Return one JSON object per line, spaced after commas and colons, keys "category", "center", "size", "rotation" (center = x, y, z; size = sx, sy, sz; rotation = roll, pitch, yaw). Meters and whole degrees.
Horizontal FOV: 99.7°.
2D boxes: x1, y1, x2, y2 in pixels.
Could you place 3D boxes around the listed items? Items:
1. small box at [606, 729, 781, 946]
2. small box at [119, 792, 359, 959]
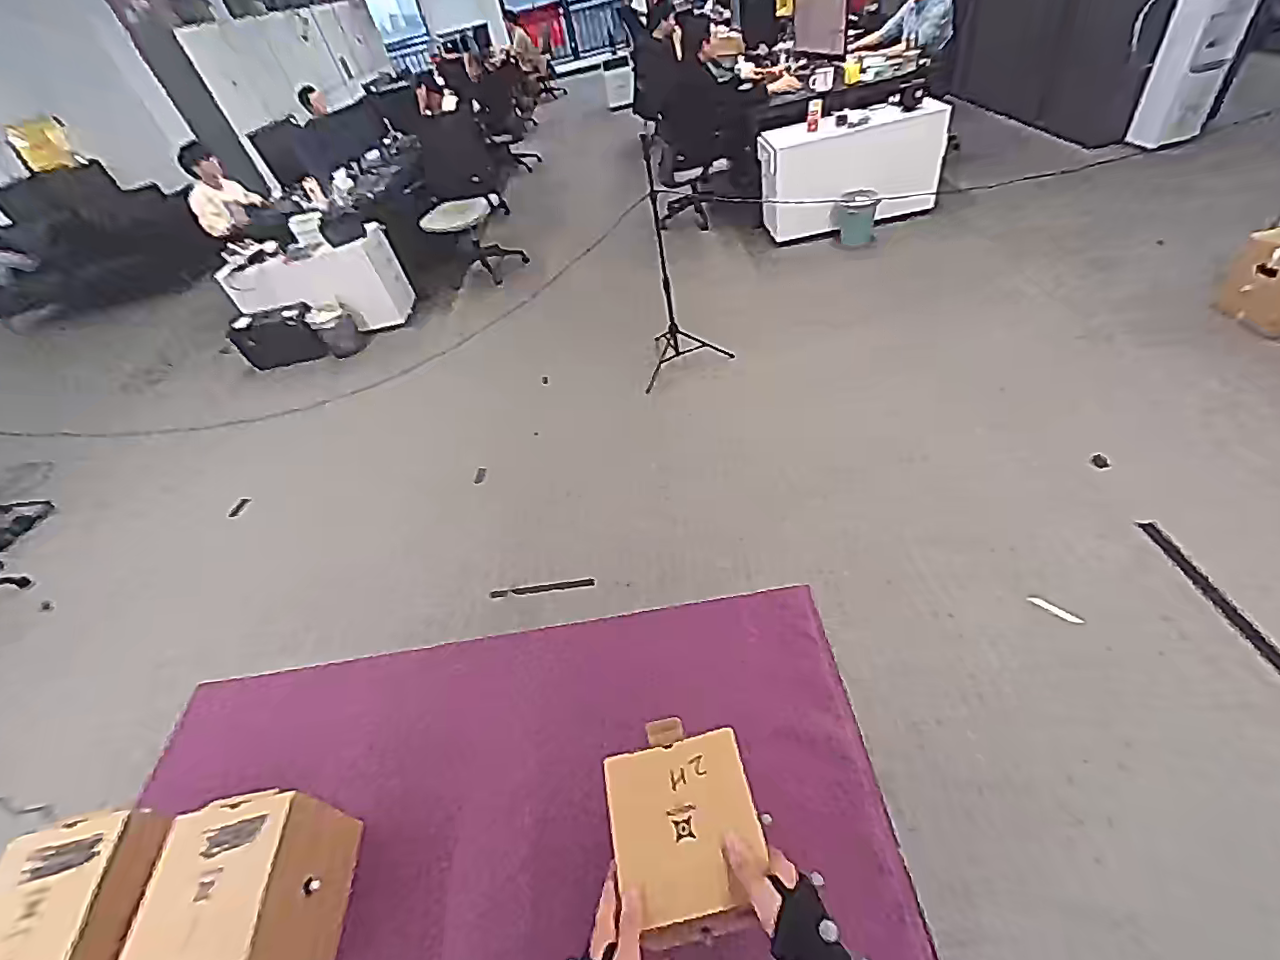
{"category": "small box", "center": [0.066, 0.436, 0.655], "size": [0.168, 0.176, 0.179], "rotation": [-15, 44, 1]}
{"category": "small box", "center": [-0.503, 0.542, 0.710], "size": [0.168, 0.176, 0.179], "rotation": [-13, 45, 3]}
